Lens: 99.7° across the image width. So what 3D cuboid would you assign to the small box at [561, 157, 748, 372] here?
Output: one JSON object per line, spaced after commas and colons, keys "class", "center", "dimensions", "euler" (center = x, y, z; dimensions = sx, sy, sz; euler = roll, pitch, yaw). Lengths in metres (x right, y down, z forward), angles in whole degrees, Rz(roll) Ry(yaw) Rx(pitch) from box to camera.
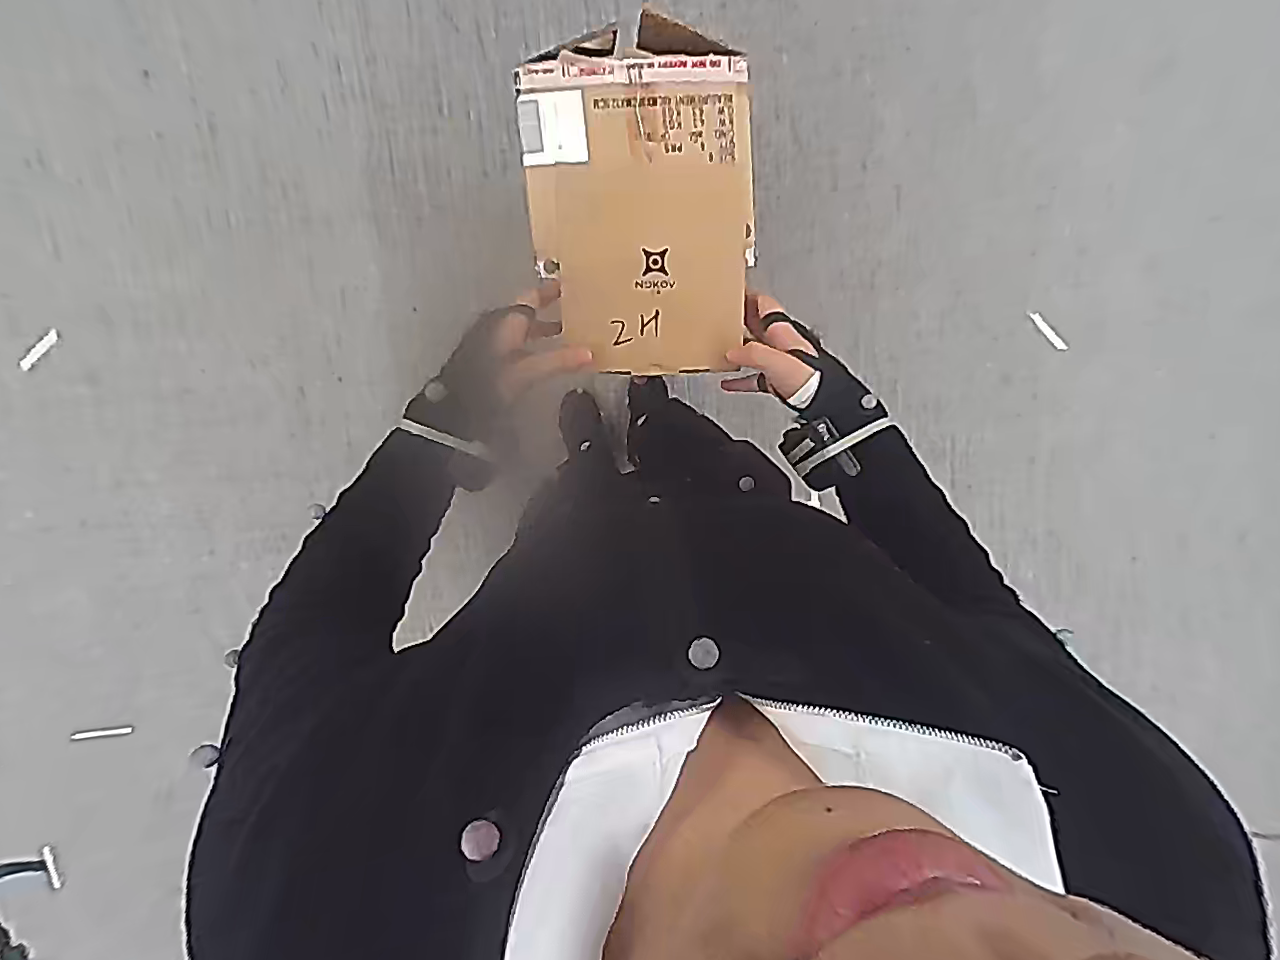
{"class": "small box", "center": [0.004, -0.201, 0.551], "dimensions": [0.168, 0.176, 0.179], "euler": [-2, 102, -6]}
